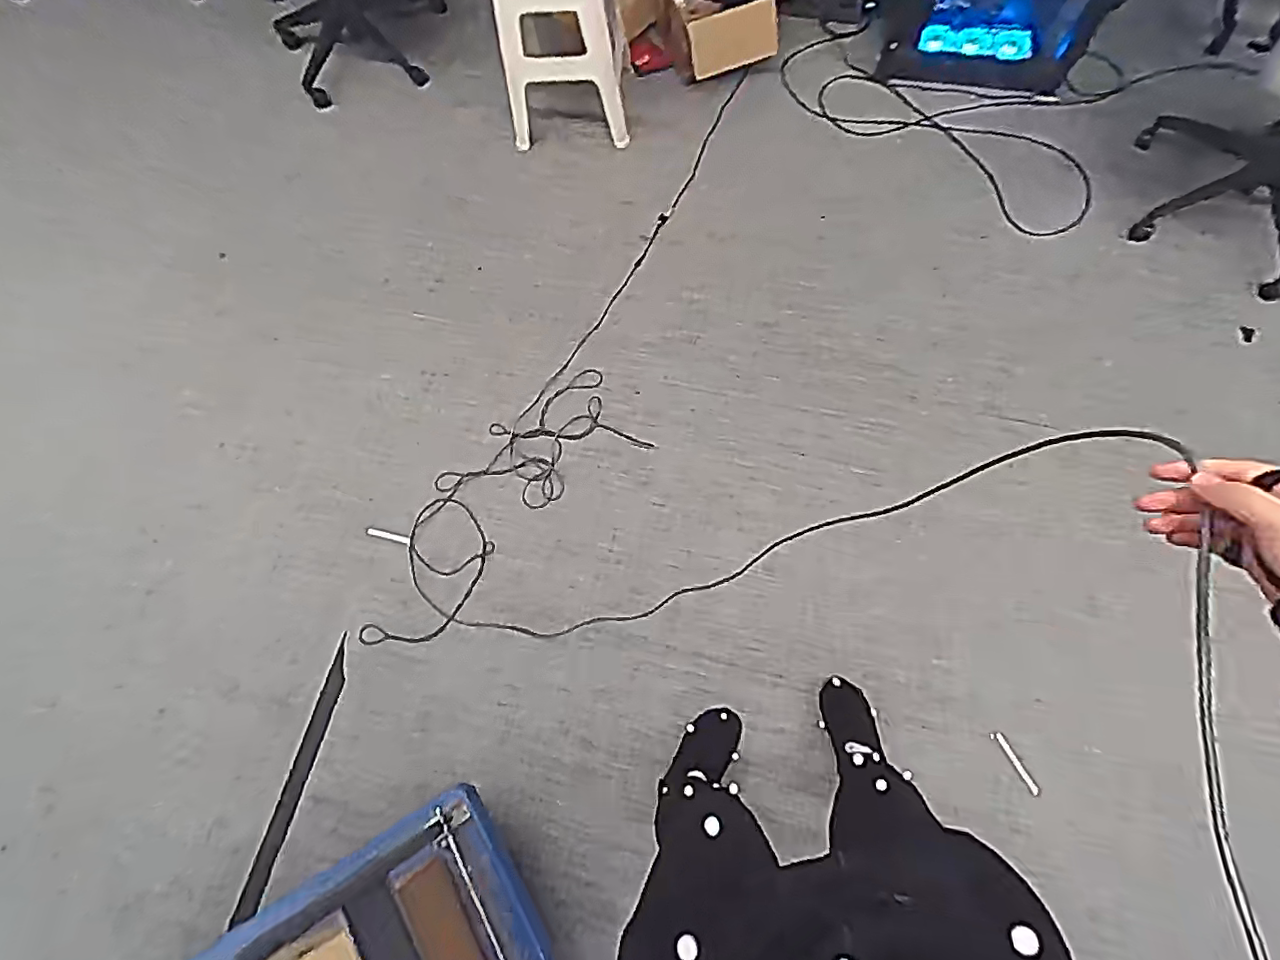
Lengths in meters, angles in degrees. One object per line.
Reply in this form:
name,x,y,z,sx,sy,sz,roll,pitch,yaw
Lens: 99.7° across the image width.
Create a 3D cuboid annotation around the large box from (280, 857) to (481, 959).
large box,-0.434,0.928,0.853,0.320,0.320,0.408,-31,72,-7
